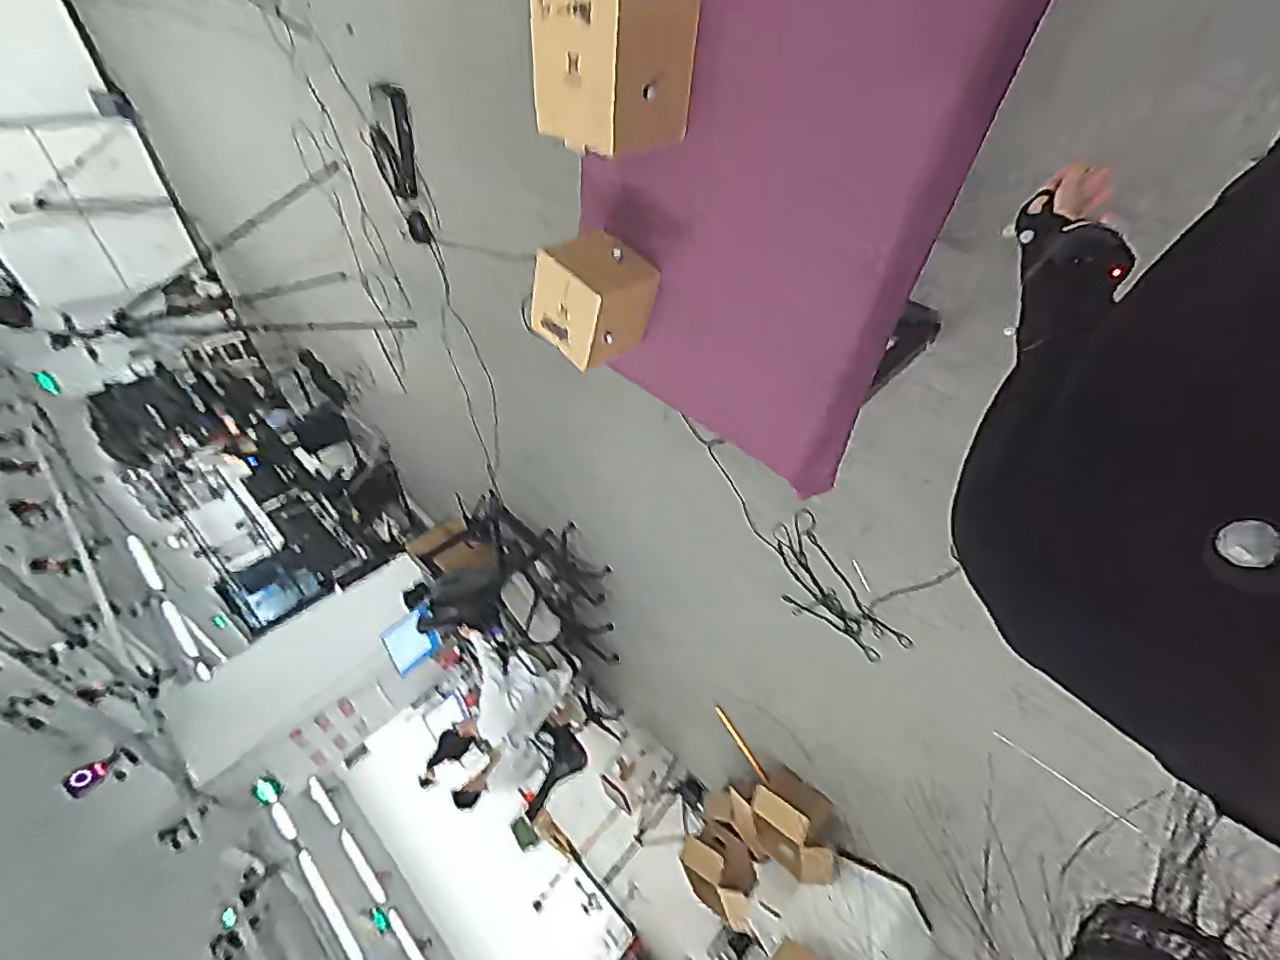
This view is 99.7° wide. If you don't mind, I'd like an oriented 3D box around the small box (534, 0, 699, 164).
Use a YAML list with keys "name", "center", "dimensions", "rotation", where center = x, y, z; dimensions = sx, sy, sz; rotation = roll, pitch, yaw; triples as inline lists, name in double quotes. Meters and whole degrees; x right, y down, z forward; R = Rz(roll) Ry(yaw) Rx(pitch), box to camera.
- name: "small box"
  center: [-0.031, -0.590, 0.788]
  dimensions: [0.168, 0.176, 0.179]
  rotation: [33, 141, 26]

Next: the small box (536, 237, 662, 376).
- name: "small box"
  center: [-0.081, -0.342, 1.058]
  dimensions: [0.168, 0.176, 0.179]
  rotation: [42, 143, 16]
